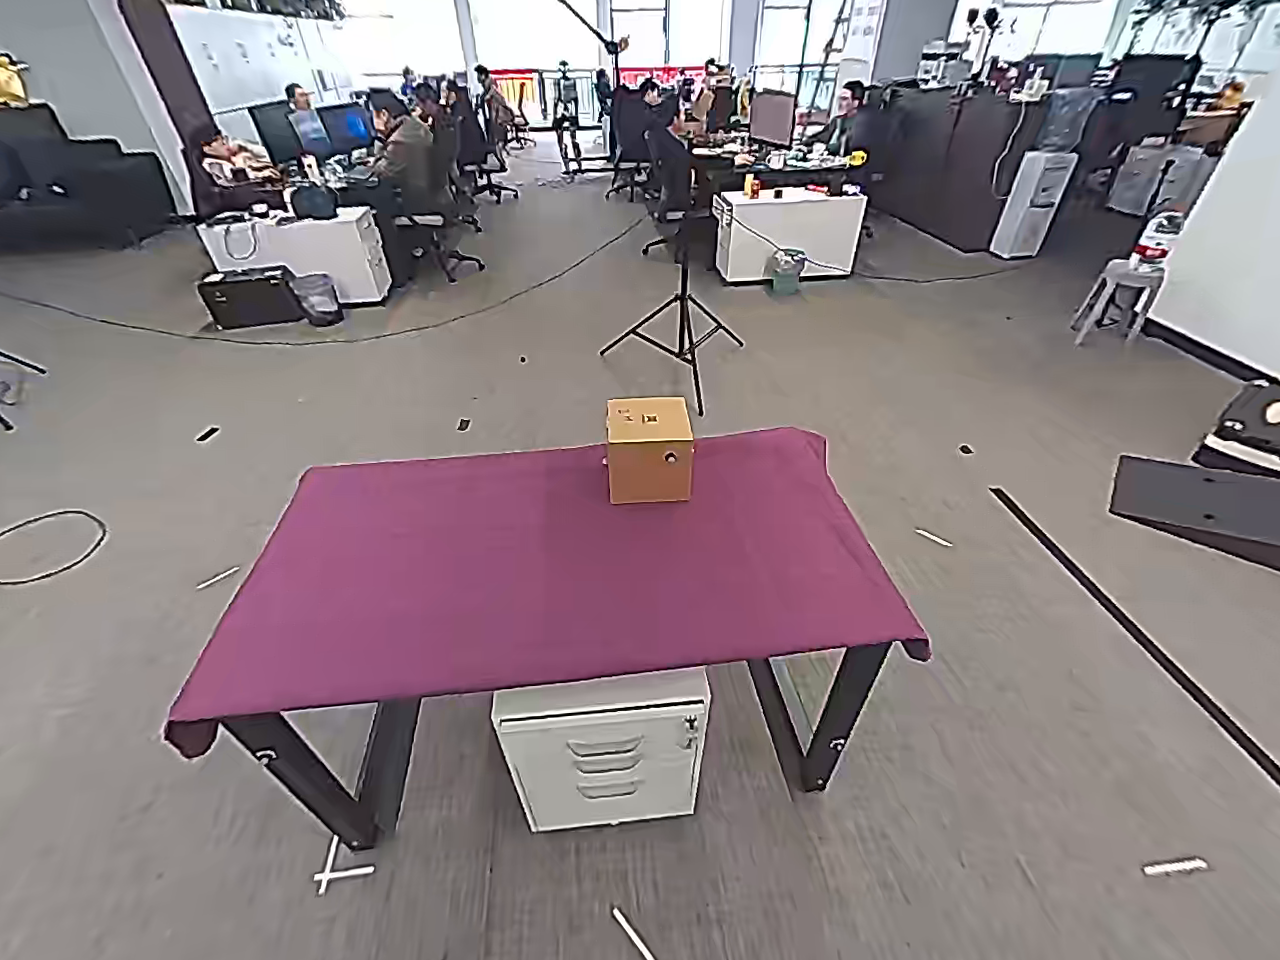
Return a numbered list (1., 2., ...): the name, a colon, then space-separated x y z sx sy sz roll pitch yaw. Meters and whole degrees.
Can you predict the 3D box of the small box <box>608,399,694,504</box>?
1. small box: 0.020 -0.062 1.197 0.179 0.176 0.168 -3 39 -1
